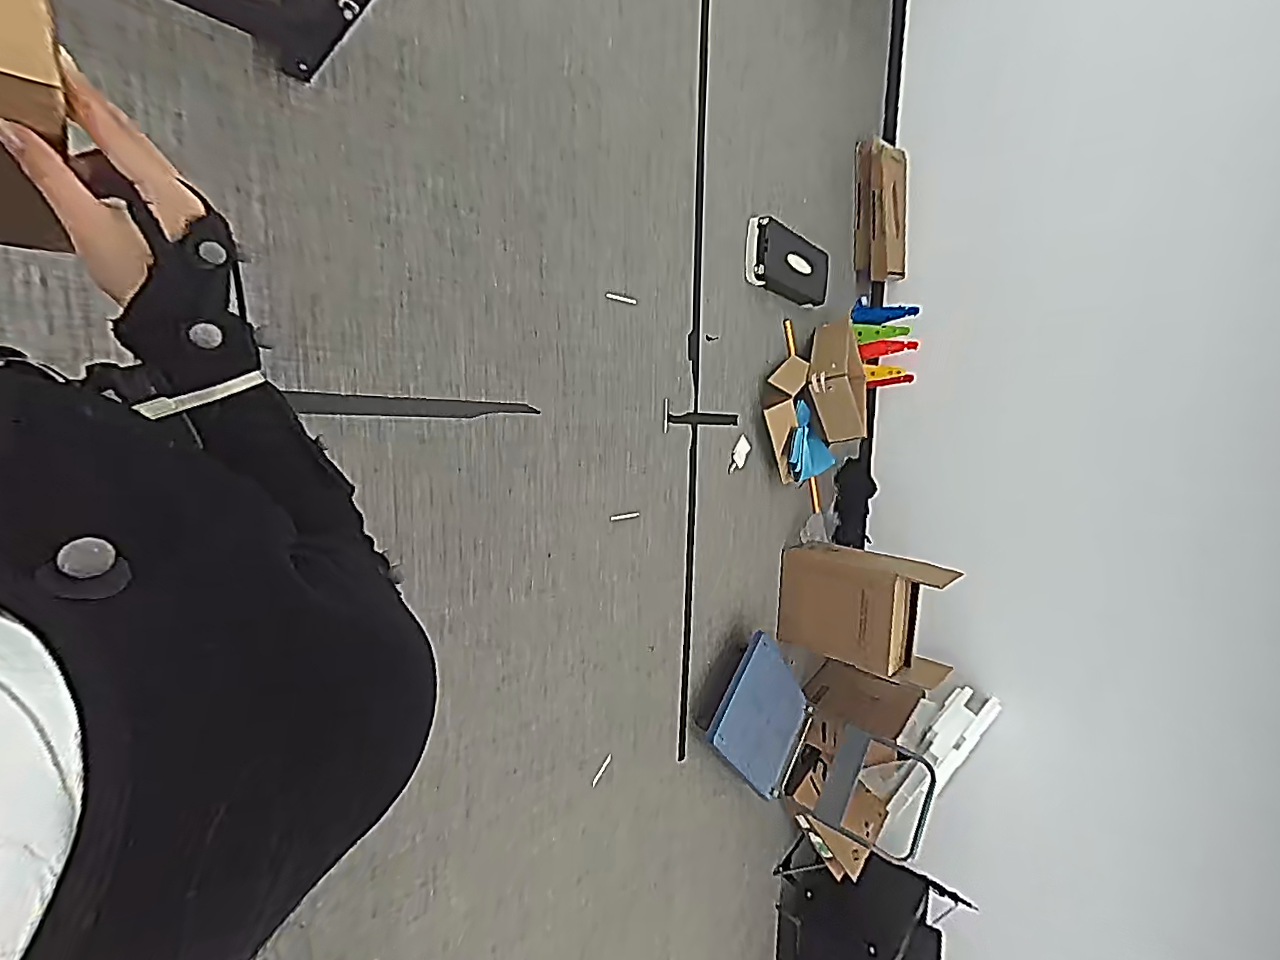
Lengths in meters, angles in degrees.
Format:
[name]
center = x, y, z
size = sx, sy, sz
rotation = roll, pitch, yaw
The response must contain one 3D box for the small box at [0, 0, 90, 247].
[small box]
center = -0.412, -0.244, 0.270
size = 0.179, 0.176, 0.168
rotation = -8, 84, -45
